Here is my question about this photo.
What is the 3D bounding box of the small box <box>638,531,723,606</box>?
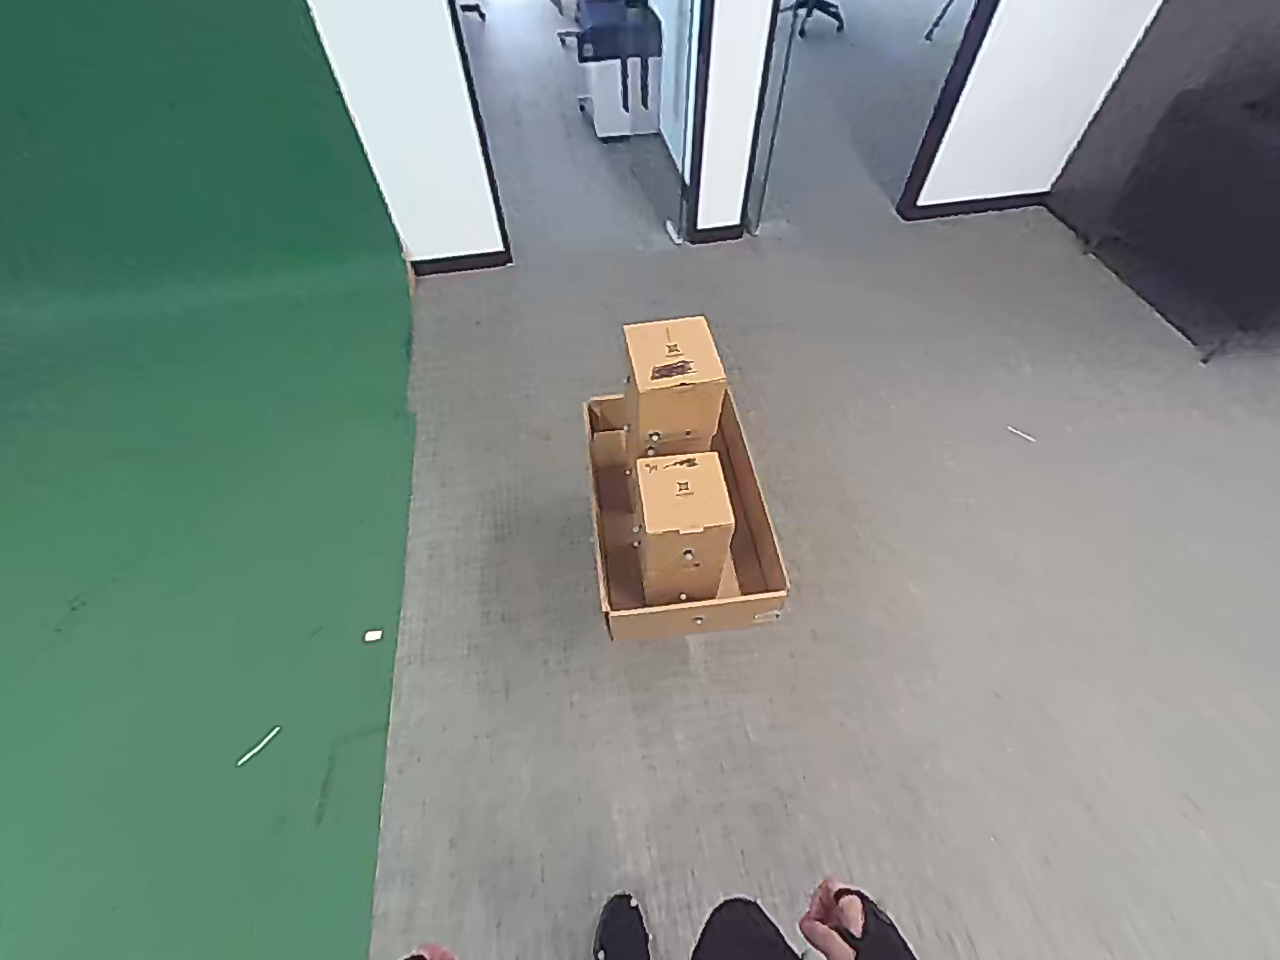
[{"bbox_3d":[0.083,0.164,1.223,0.168,0.176,0.179,-7,54,-3],"label":"small box"}]

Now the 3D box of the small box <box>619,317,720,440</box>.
[{"bbox_3d":[0.055,-0.196,1.085,0.168,0.176,0.179,-9,57,-6],"label":"small box"}]

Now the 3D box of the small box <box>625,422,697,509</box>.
[{"bbox_3d":[0.052,-0.037,1.374,0.168,0.176,0.179,-7,58,-5],"label":"small box"}]

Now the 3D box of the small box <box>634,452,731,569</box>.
[{"bbox_3d":[0.079,0.069,1.091,0.168,0.176,0.179,-6,55,-4],"label":"small box"}]
